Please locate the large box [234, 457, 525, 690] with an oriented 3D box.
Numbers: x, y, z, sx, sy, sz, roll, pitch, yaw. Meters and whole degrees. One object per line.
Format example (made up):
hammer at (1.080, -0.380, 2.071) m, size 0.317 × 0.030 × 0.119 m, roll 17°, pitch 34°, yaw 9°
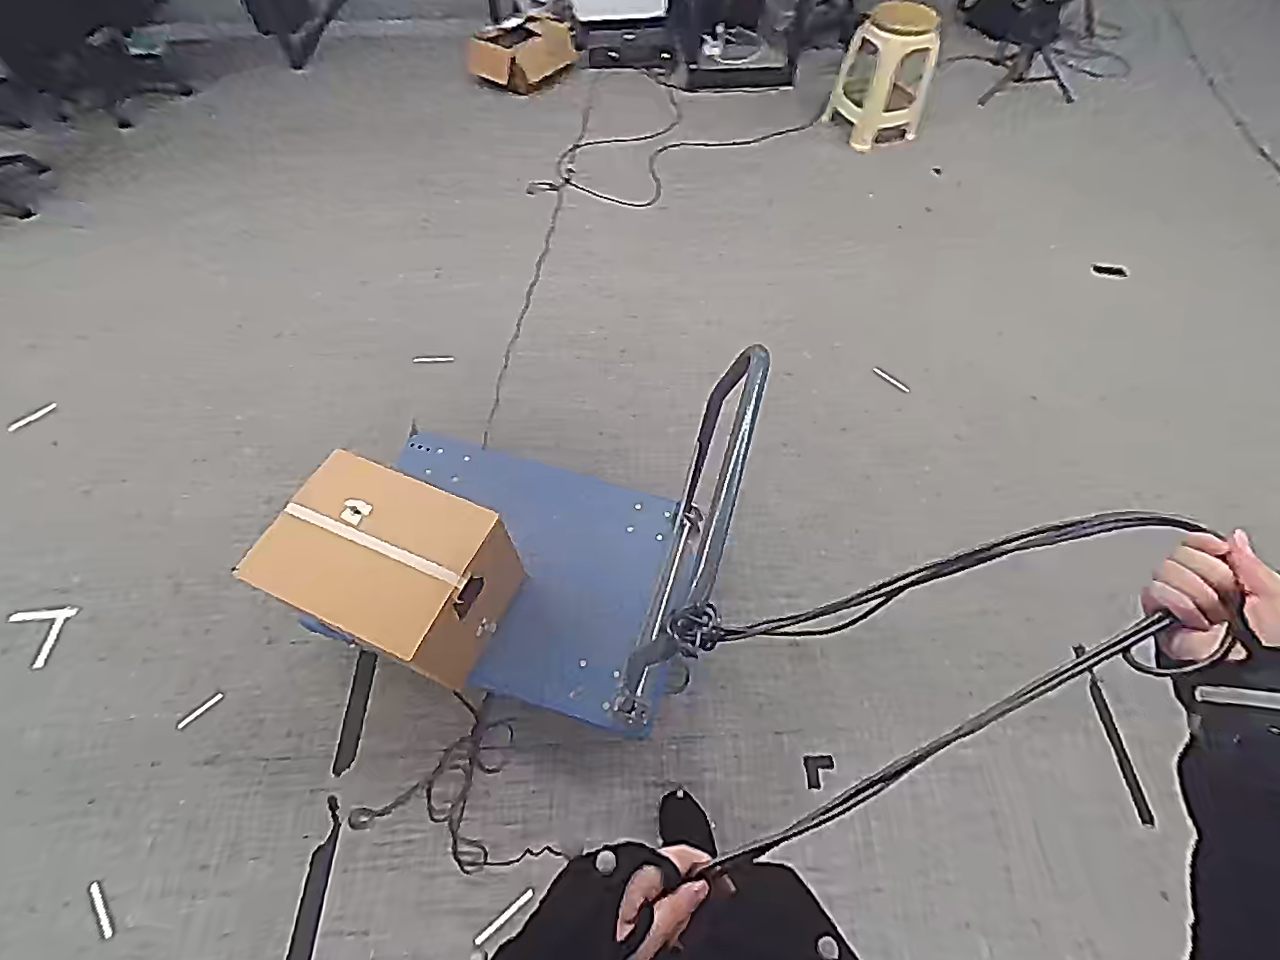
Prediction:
large box at (-0.515, 0.209, 1.165) m, size 0.408 × 0.320 × 0.320 m, roll 20°, pitch 61°, yaw 12°
